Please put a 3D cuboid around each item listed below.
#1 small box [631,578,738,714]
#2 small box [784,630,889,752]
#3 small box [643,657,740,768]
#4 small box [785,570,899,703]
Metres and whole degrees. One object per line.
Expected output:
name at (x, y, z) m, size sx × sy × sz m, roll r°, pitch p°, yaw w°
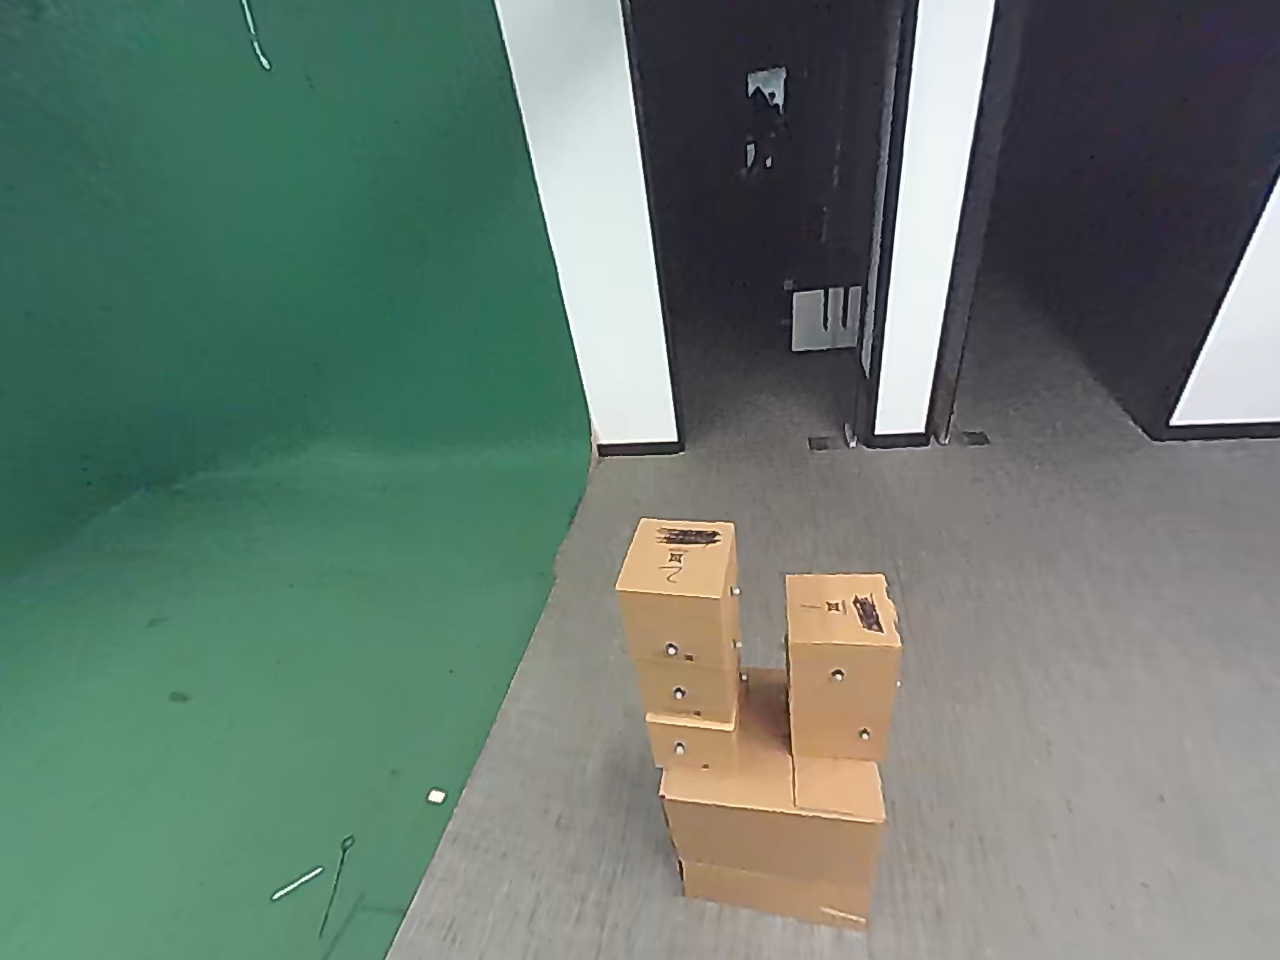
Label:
small box at (0.093, 0.309, 1.011) m, size 0.168 × 0.176 × 0.179 m, roll 2°, pitch 36°, yaw 15°
small box at (0.380, 0.417, 1.075) m, size 0.179 × 0.176 × 0.168 m, roll -2°, pitch 34°, yaw 14°
small box at (0.113, 0.451, 1.093) m, size 0.168 × 0.176 × 0.179 m, roll 1°, pitch 35°, yaw 14°
small box at (0.356, 0.283, 0.983) m, size 0.179 × 0.176 × 0.168 m, roll -2°, pitch 34°, yaw 15°
